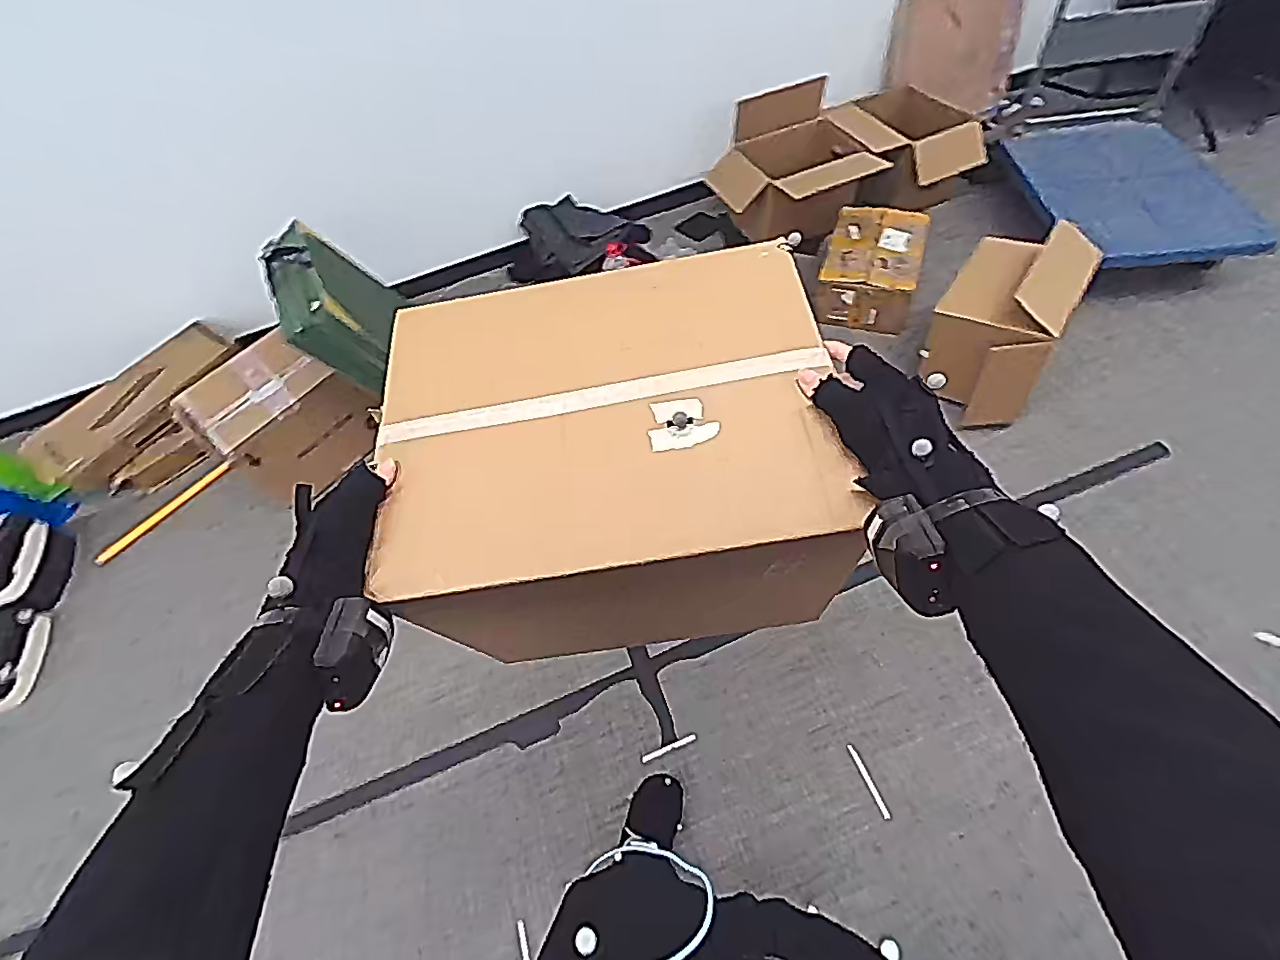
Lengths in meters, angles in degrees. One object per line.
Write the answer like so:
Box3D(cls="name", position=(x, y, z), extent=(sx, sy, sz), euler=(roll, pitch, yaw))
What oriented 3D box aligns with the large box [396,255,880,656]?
Box3D(cls="large box", position=(-0.006, -0.003, 0.631), extent=(0.408, 0.320, 0.320), euler=(-8, 63, 3))
